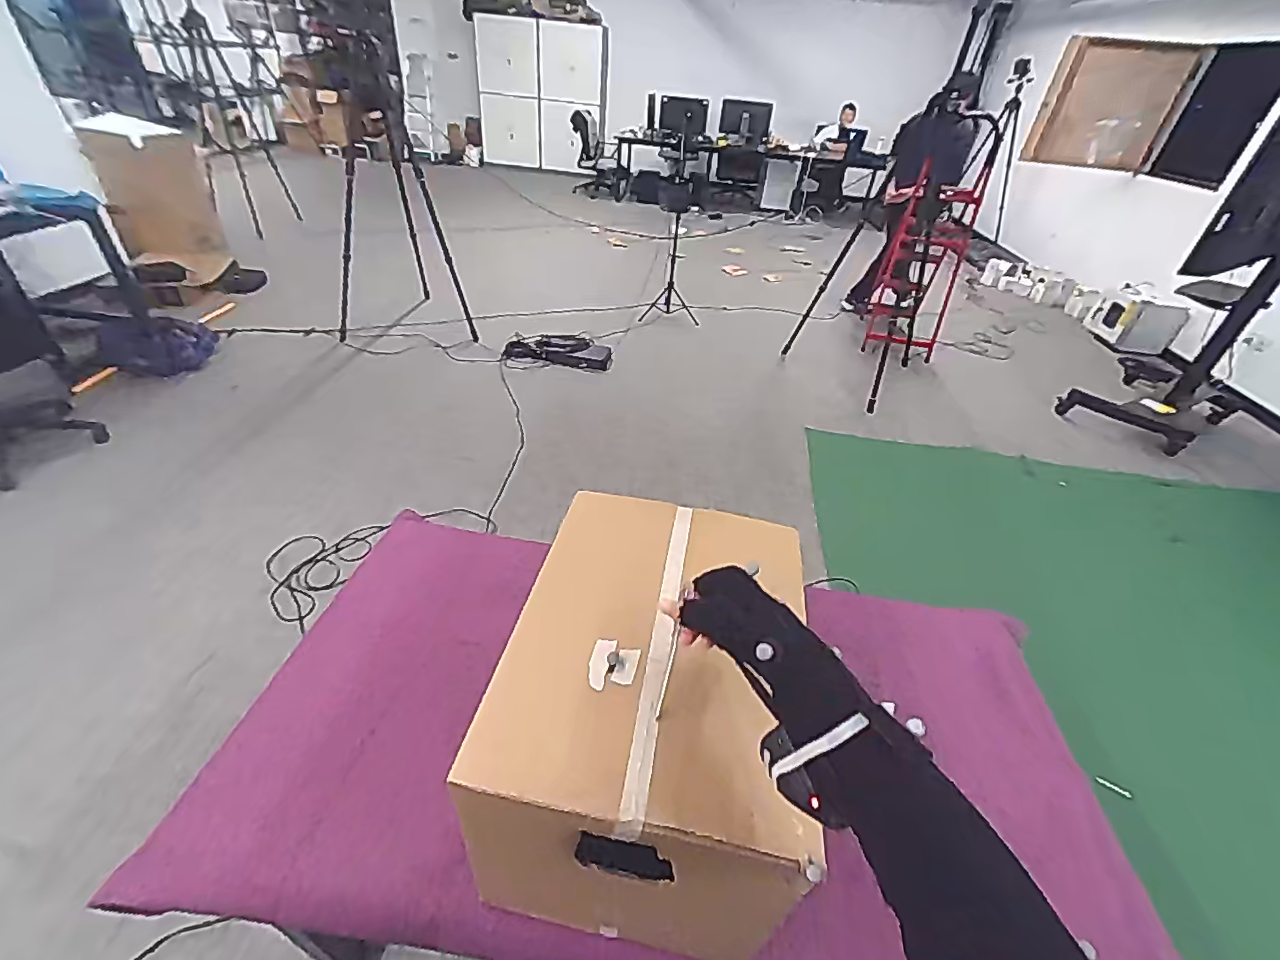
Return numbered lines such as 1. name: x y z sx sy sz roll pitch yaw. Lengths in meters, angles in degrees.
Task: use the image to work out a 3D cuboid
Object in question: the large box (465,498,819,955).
1. large box: 0.015 0.285 0.695 0.320 0.320 0.408 10 38 5
